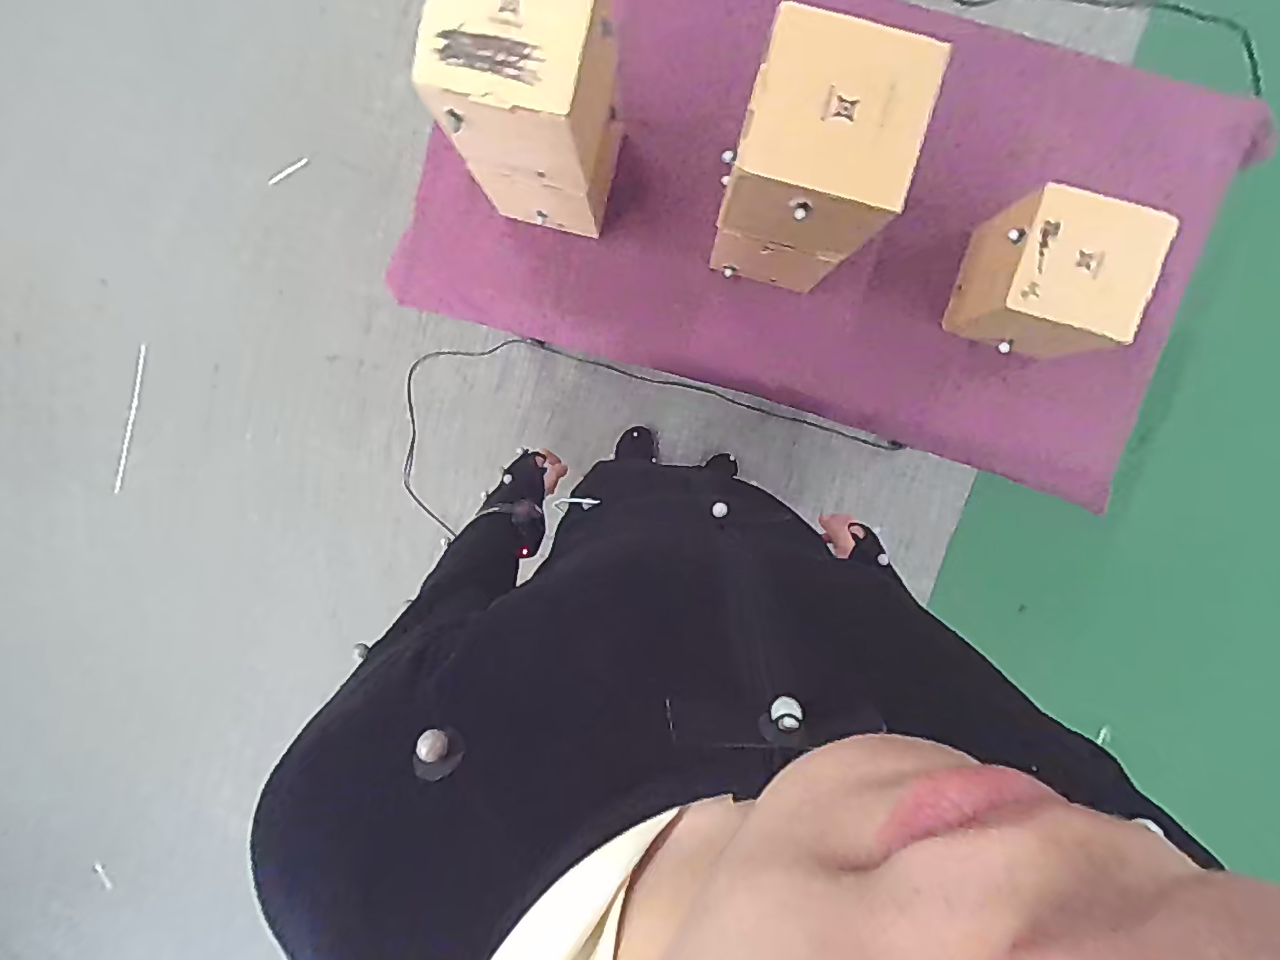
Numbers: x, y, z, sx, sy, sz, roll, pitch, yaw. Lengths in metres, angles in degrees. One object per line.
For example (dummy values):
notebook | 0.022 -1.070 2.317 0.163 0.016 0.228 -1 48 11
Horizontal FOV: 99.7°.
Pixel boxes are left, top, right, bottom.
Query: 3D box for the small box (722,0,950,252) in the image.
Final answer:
small box | 0.202 -0.382 0.616 0.179 0.176 0.168 16 97 0

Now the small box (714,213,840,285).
small box | 0.209 -0.401 0.778 0.168 0.176 0.179 16 95 0

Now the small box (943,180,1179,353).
small box | 0.583 -0.288 0.775 0.179 0.176 0.168 17 95 0

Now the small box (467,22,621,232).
small box | -0.126 -0.491 0.780 0.168 0.176 0.179 15 96 1
